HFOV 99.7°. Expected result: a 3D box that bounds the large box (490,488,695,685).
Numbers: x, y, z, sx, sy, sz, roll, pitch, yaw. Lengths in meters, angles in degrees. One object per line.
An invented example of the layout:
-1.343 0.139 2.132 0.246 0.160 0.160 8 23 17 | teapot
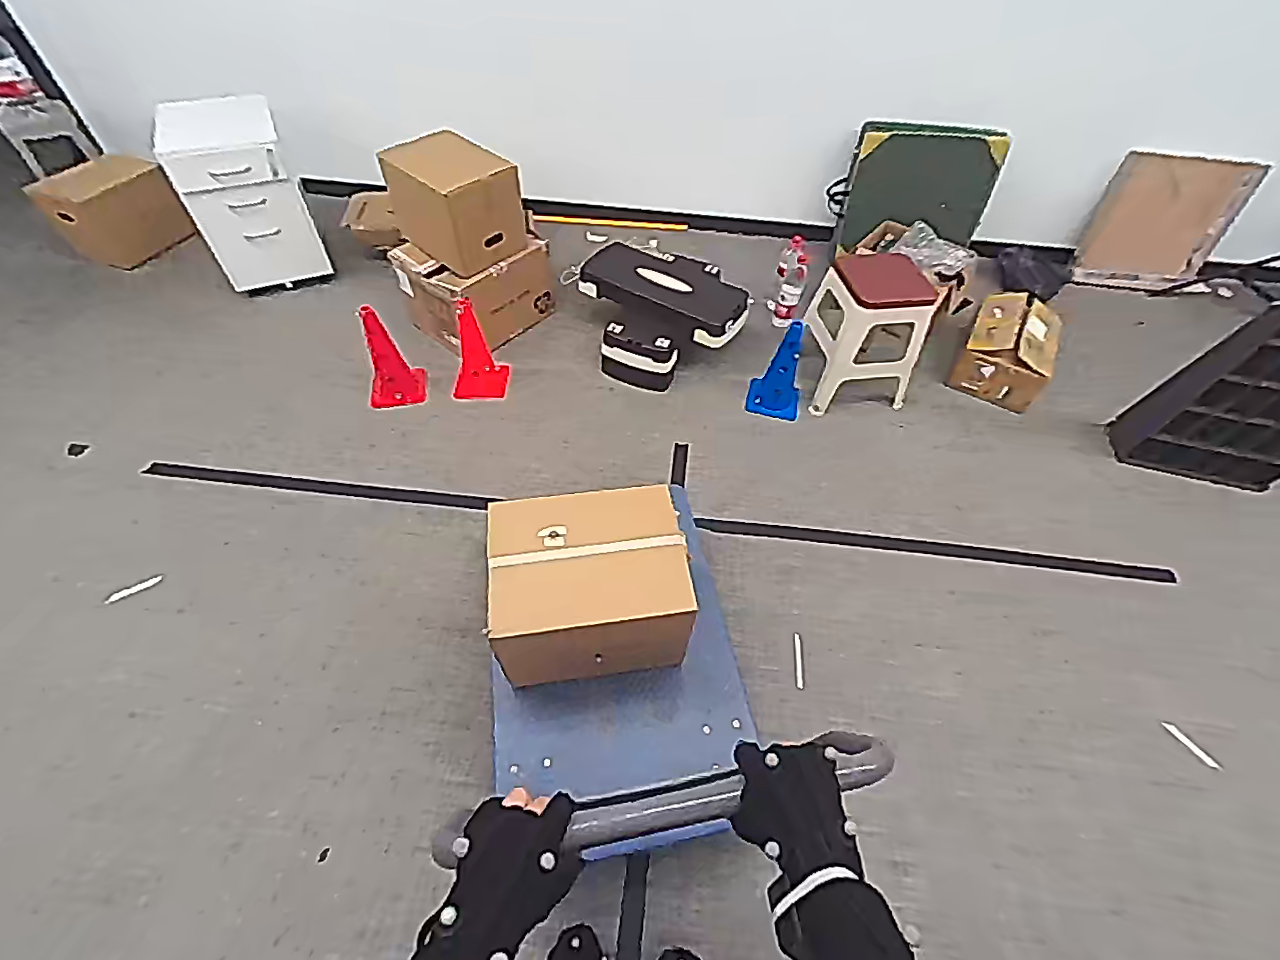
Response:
-0.113 0.248 1.243 0.408 0.320 0.320 -6 53 -7 | large box
